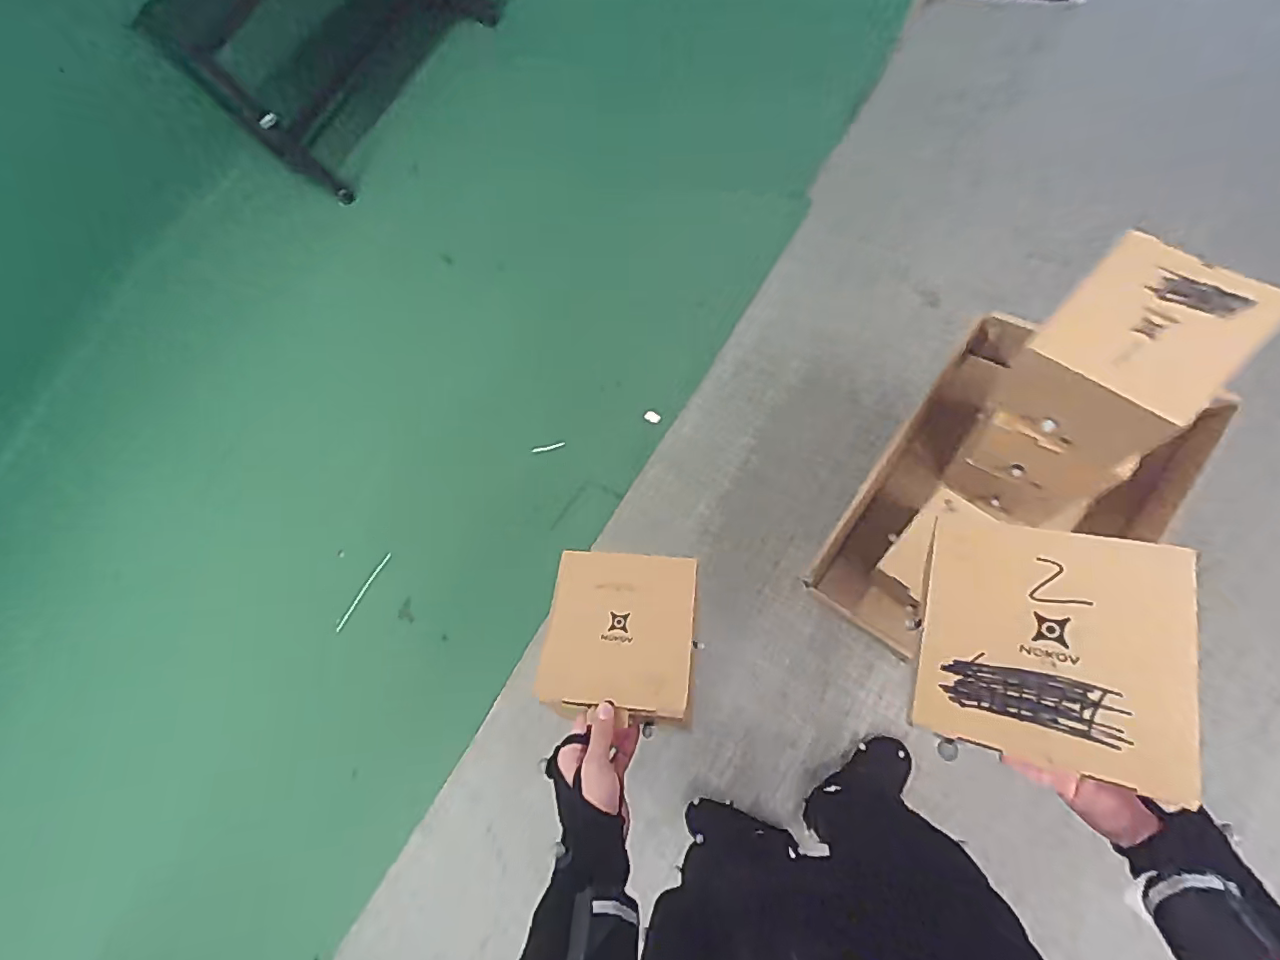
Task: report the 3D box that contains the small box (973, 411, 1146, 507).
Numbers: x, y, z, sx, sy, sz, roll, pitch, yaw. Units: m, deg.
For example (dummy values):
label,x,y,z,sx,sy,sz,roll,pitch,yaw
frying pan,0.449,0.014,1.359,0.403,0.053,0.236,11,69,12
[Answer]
label,x,y,z,sx,sy,sz,roll,pitch,yaw
small box,0.622,-0.086,0.789,0.168,0.176,0.179,32,86,25

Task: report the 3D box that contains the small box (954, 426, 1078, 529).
label,x,y,z,sx,sy,sz,roll,pitch,yaw
small box,0.676,-0.040,0.935,0.168,0.176,0.179,32,86,26

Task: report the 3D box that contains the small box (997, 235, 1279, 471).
label,x,y,z,sx,sy,sz,roll,pitch,yaw
small box,0.569,-0.140,0.644,0.179,0.176,0.168,-48,64,1

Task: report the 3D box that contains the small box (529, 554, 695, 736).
label,x,y,z,sx,sy,sz,roll,pitch,yaw
small box,-0.020,0.209,0.672,0.168,0.176,0.179,2,58,9
